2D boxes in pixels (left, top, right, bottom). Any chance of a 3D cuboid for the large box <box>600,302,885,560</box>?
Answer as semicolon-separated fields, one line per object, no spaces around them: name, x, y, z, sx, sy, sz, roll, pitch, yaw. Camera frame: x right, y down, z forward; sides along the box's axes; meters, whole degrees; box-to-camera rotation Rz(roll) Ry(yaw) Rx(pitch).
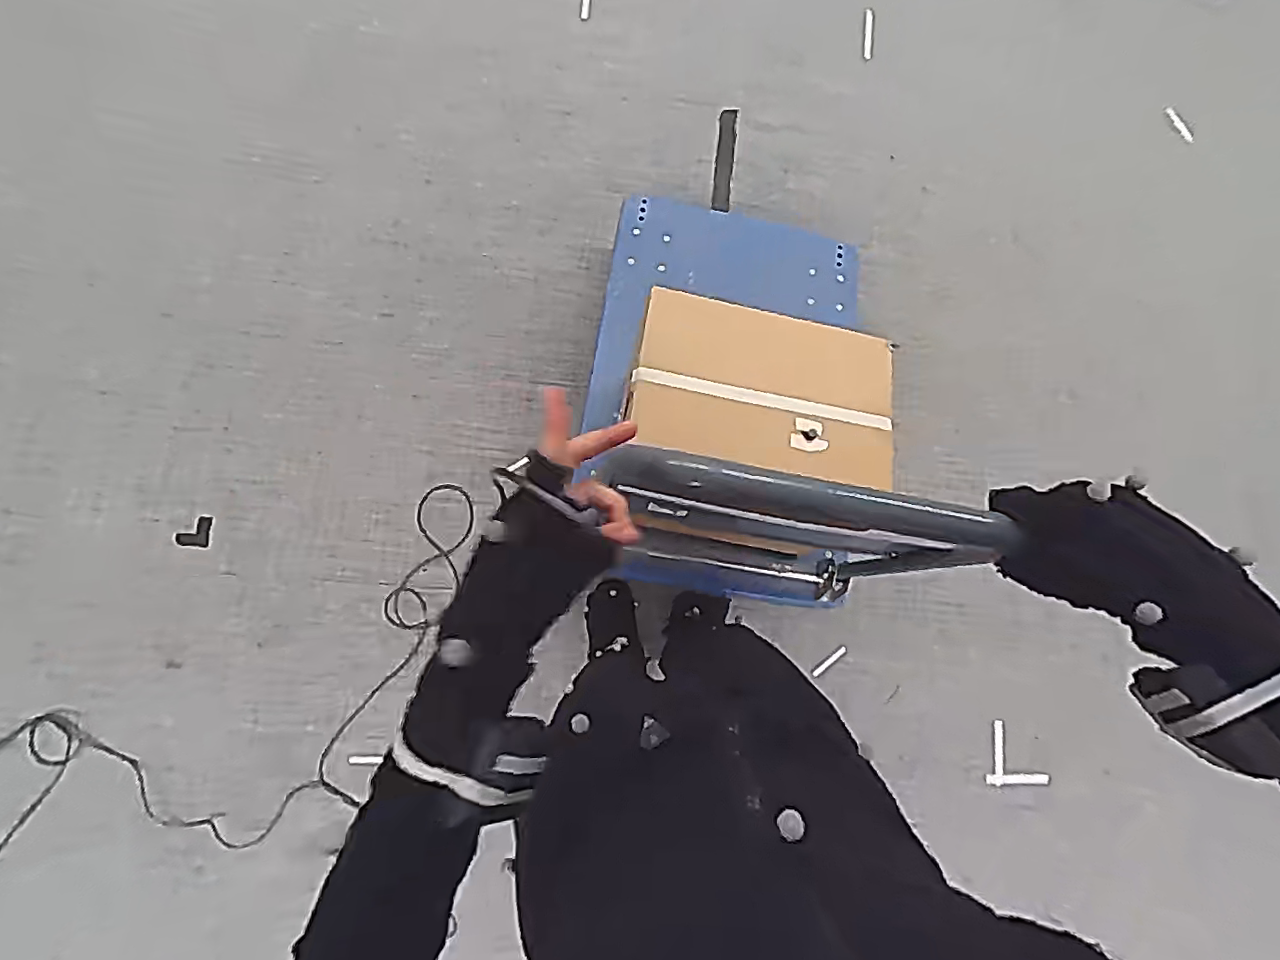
large box;0.158;-0.059;0.952;0.408;0.320;0.320;11;73;-7
